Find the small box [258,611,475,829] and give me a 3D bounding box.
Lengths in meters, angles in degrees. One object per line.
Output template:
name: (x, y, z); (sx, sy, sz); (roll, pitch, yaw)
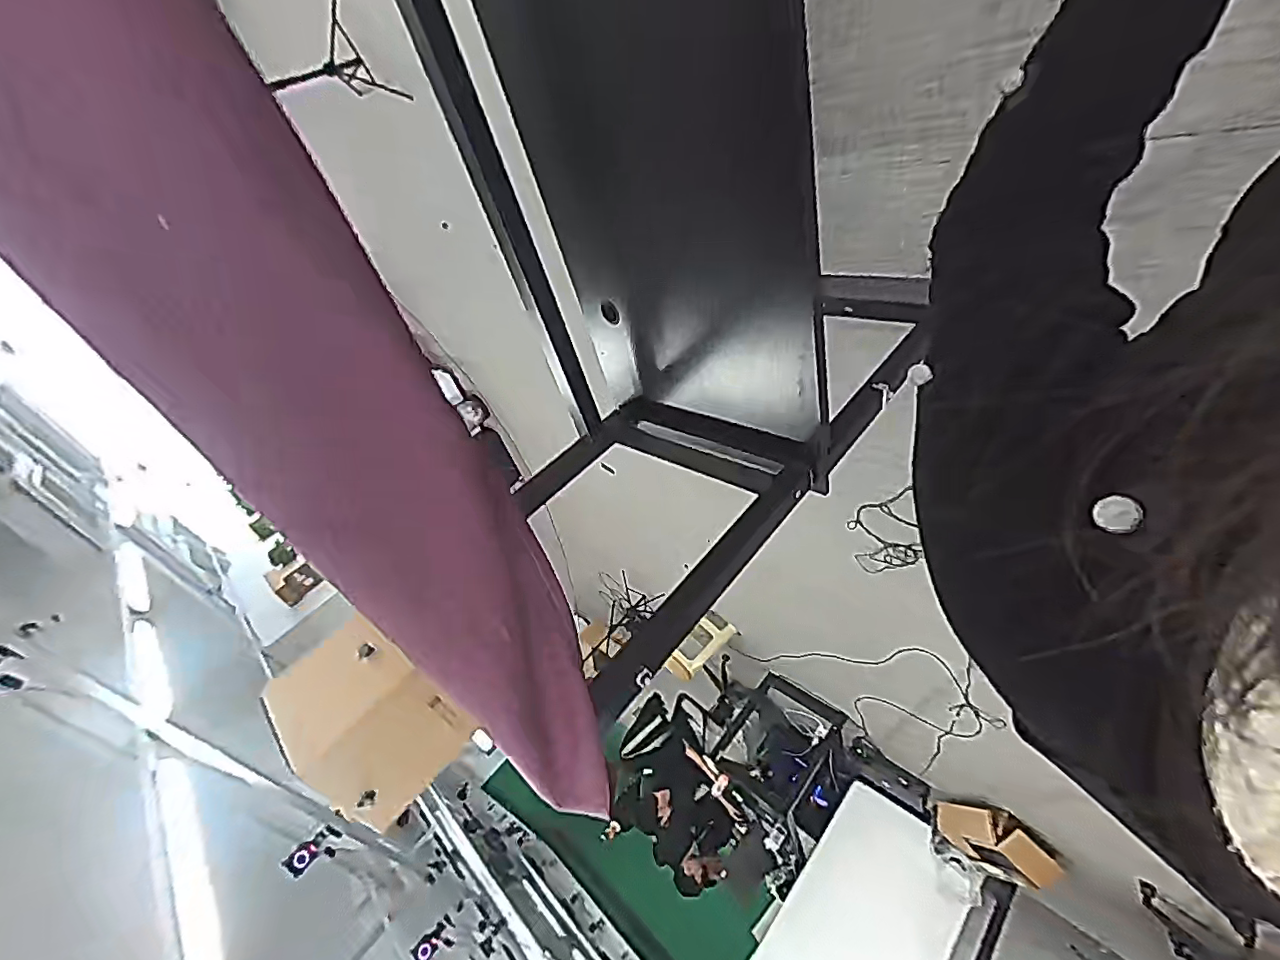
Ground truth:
small box: (-0.352, 0.302, 0.714); (0.179, 0.176, 0.168); (22, 145, 42)
